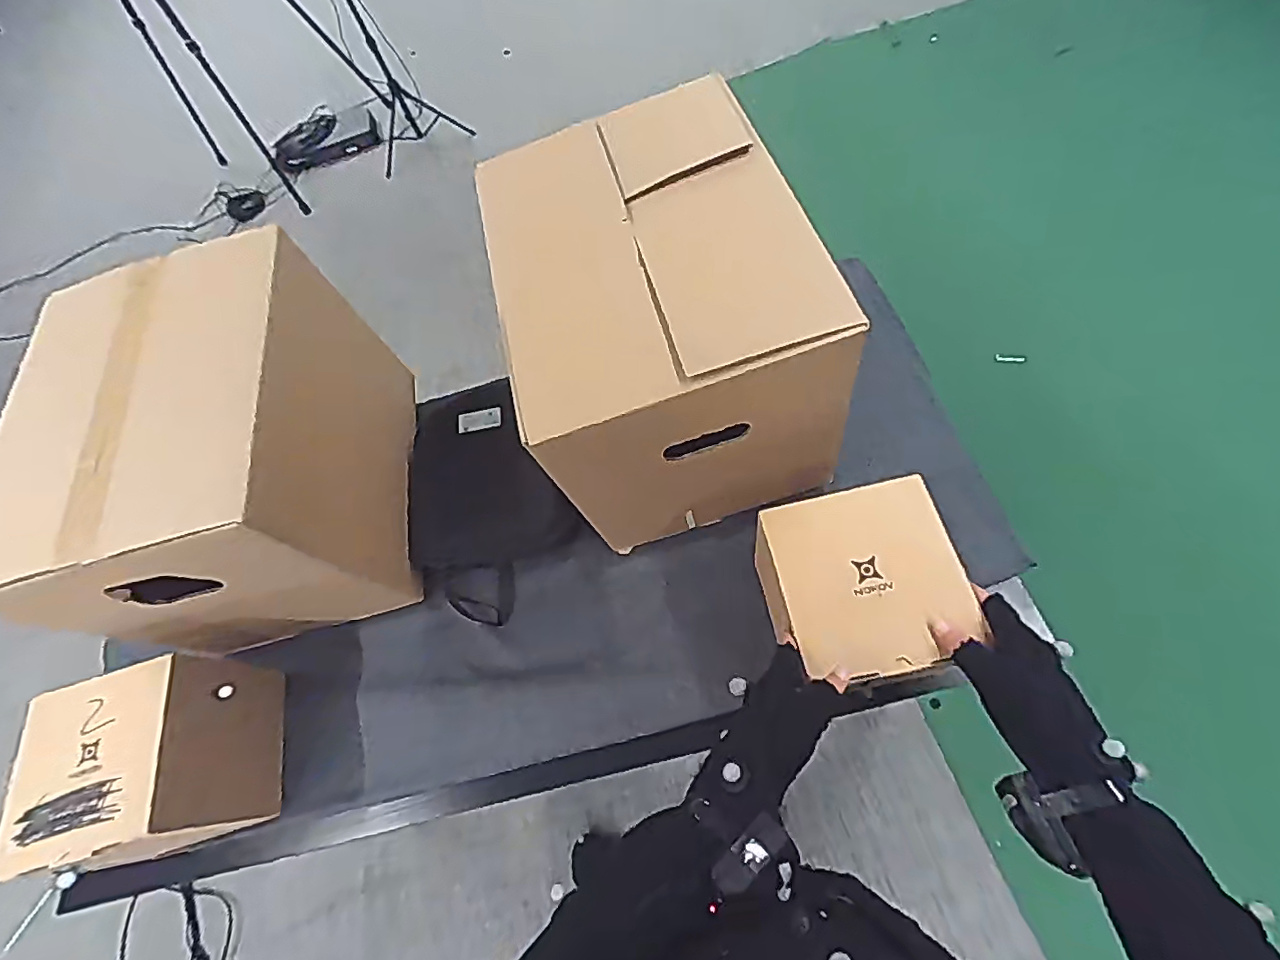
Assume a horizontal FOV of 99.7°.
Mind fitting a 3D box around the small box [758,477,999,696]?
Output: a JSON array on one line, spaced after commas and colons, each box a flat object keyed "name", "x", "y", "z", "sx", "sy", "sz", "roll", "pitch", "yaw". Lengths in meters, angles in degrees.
[{"name": "small box", "x": 0.229, "y": 0.122, "z": 0.579, "sx": 0.168, "sy": 0.176, "sz": 0.179, "roll": -13, "pitch": 65, "yaw": 4}]
